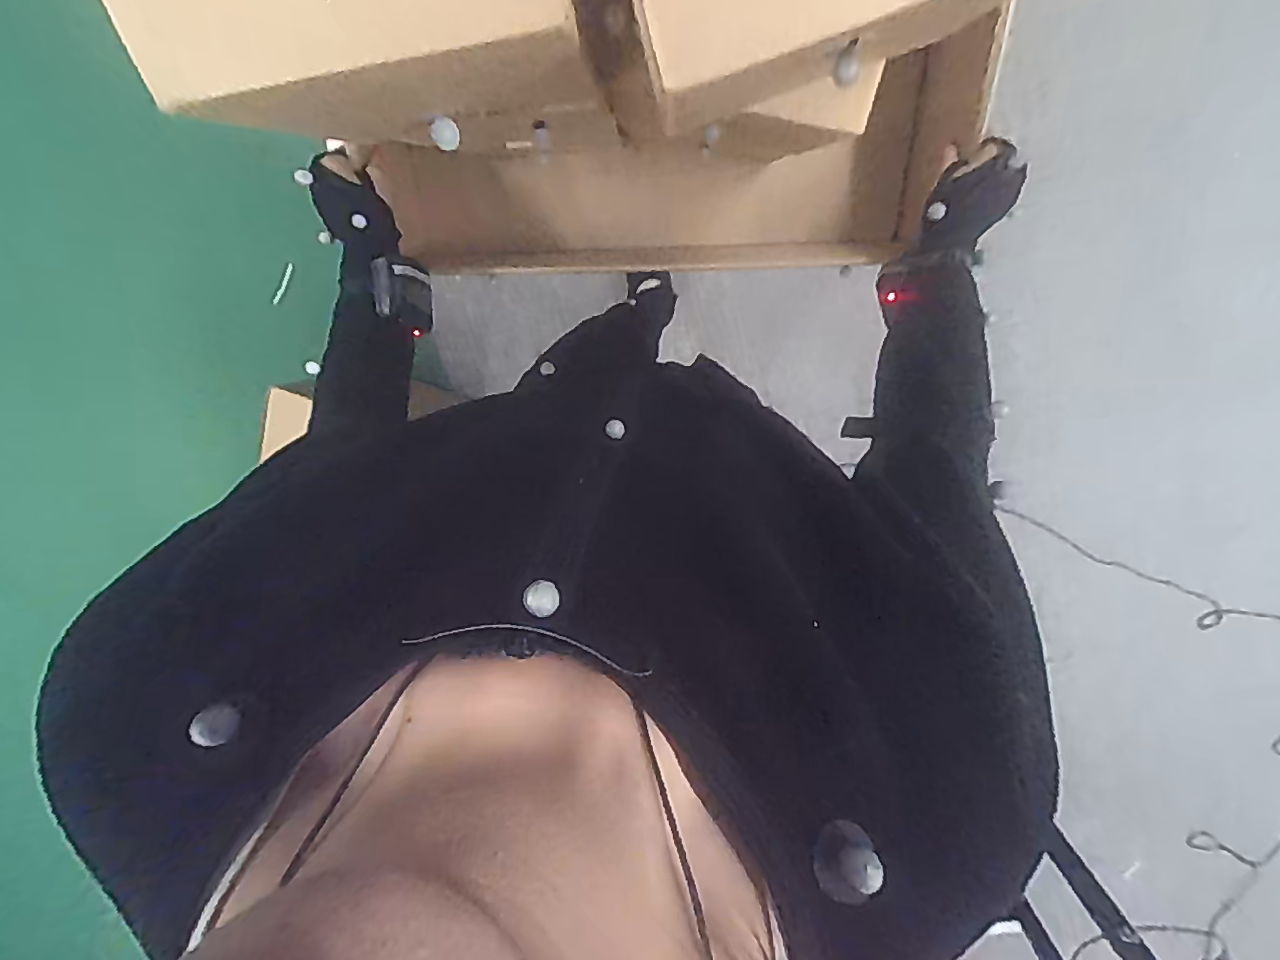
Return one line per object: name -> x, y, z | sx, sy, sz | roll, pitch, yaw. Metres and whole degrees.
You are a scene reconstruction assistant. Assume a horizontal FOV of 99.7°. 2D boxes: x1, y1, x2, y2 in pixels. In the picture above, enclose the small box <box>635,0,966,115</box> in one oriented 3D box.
small box -> 0.071, -0.284, 0.231 | 0.179, 0.176, 0.168 | -14, 116, 10
